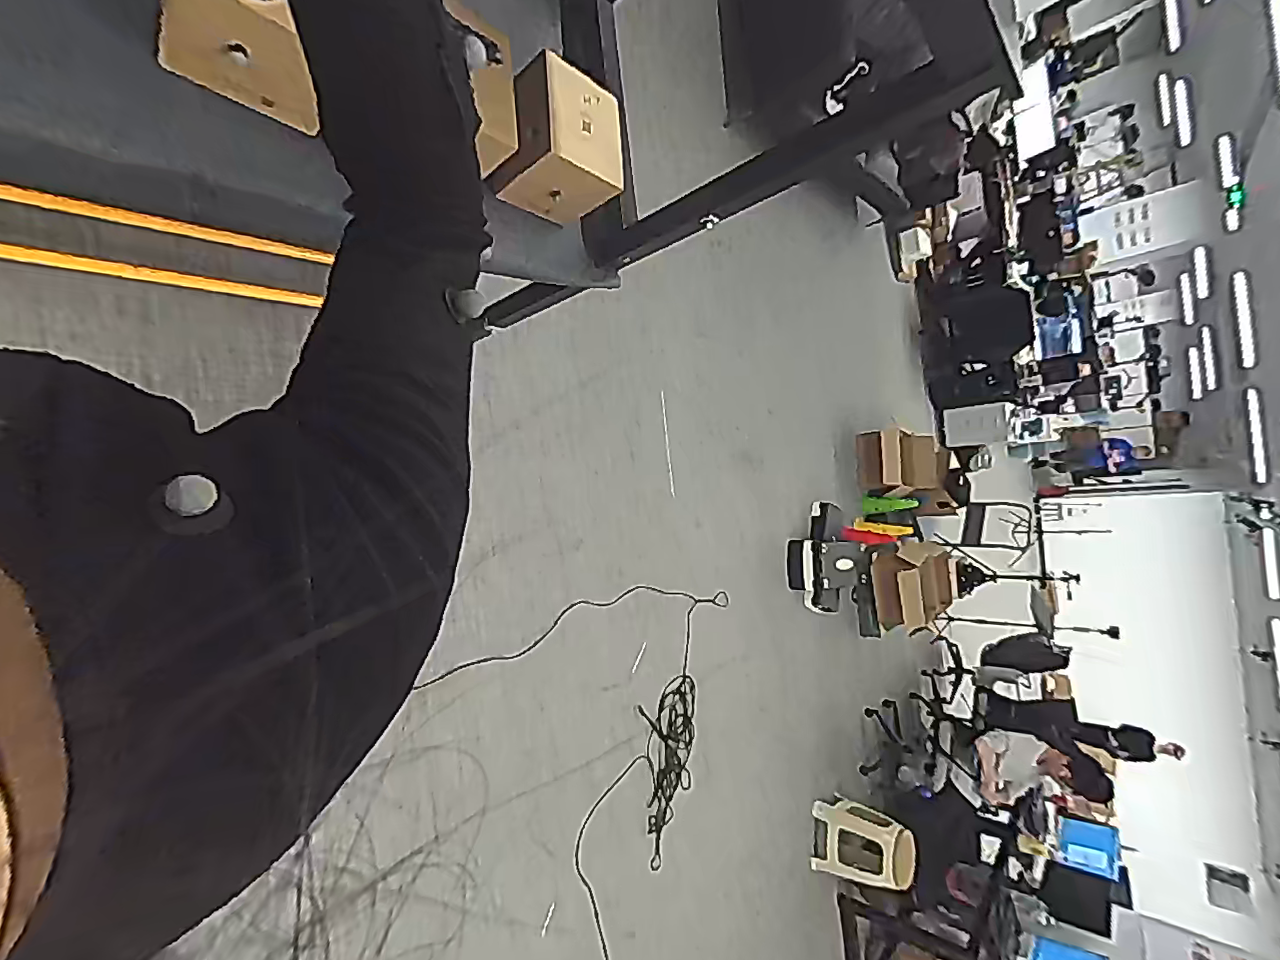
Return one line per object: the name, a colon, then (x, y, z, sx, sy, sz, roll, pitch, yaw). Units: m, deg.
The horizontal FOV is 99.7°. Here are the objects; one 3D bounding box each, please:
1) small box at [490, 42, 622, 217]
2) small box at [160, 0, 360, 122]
small box: (-0.152, -0.607, 0.969, 0.168, 0.176, 0.179, -1, 86, -48)
small box: (-0.451, -0.581, 0.645, 0.168, 0.176, 0.179, 4, 83, -47)
